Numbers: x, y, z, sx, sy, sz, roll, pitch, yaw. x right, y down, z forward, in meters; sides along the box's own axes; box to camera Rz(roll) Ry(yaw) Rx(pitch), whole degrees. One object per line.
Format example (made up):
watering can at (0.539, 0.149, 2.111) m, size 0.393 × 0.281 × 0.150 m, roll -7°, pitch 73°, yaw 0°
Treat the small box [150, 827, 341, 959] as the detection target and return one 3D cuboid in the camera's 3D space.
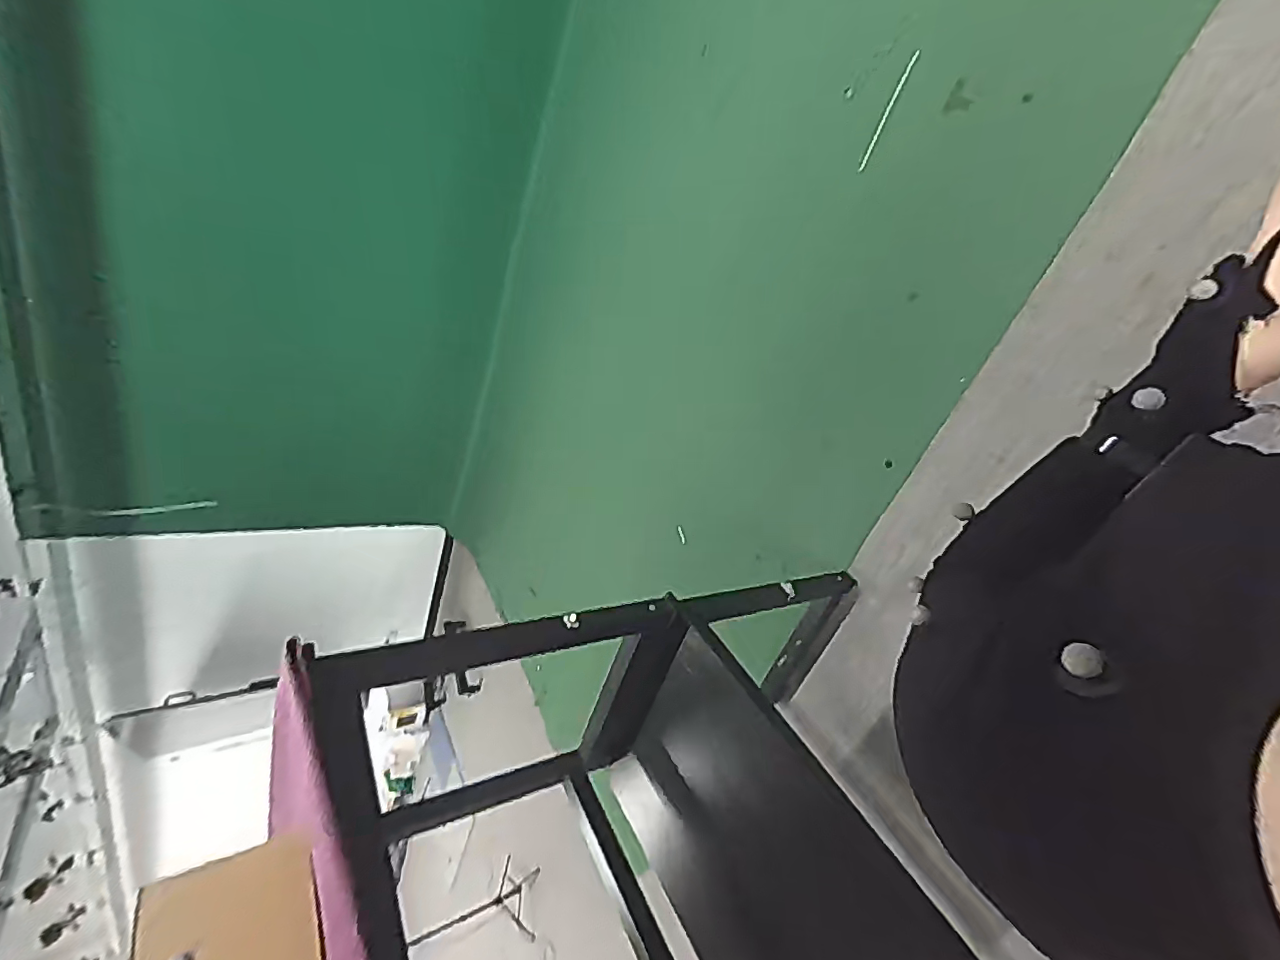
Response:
small box at (-0.463, 0.568, 0.648) m, size 0.179 × 0.176 × 0.168 m, roll 49°, pitch 129°, yaw 42°
